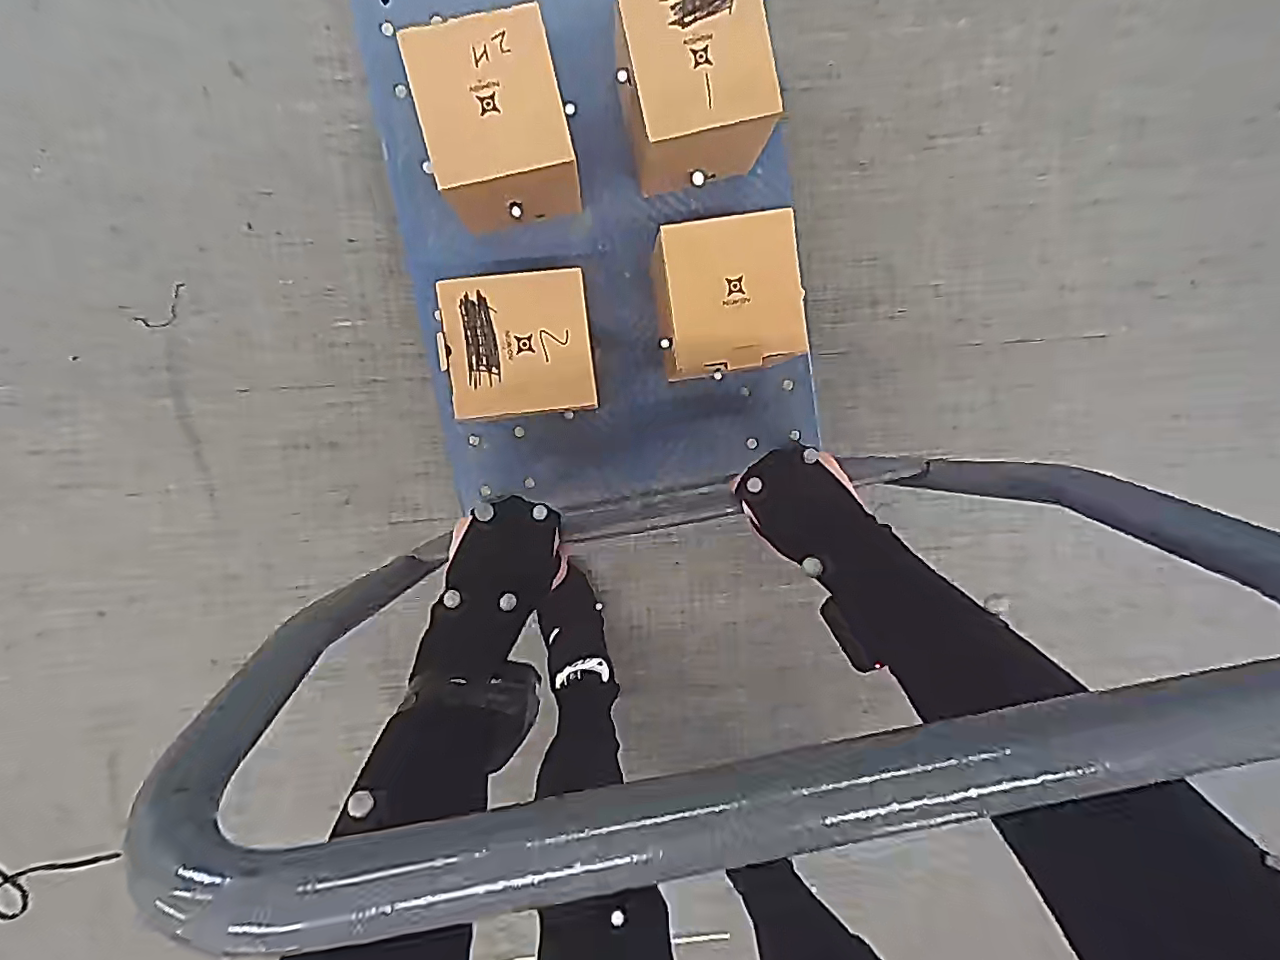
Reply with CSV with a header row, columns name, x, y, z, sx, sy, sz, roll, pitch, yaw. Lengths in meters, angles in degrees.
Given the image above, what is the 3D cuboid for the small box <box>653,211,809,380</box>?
name,x,y,z,sx,sy,sz,roll,pitch,yaw
small box,0.113,-0.238,0.737,0.168,0.176,0.179,-9,97,-2

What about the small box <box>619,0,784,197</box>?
name,x,y,z,sx,sy,sz,roll,pitch,yaw
small box,0.069,-0.503,0.701,0.168,0.176,0.179,-13,98,0

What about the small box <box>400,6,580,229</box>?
name,x,y,z,sx,sy,sz,roll,pitch,yaw
small box,-0.176,-0.443,0.696,0.168,0.176,0.179,-13,97,-2
